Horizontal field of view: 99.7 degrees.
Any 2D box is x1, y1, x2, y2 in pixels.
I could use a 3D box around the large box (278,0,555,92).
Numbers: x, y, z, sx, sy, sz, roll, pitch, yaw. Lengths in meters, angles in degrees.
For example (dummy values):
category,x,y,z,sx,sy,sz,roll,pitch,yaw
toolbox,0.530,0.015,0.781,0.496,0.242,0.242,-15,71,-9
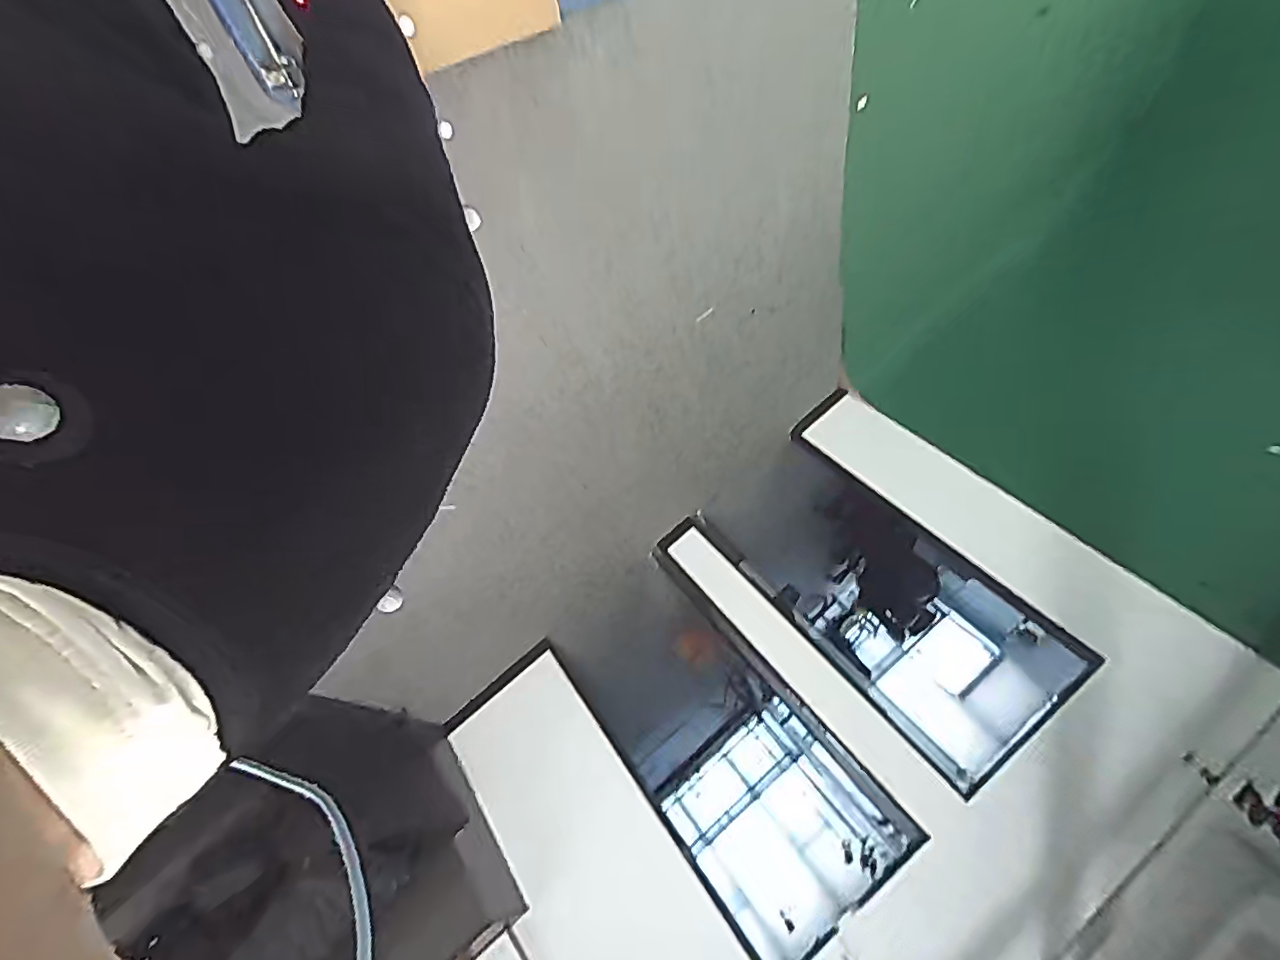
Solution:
category,x,y,z,sx,sy,sz,roll,pitch,yaw
large box,-0.420,-0.922,0.899,0.408,0.320,0.320,-35,147,-16
